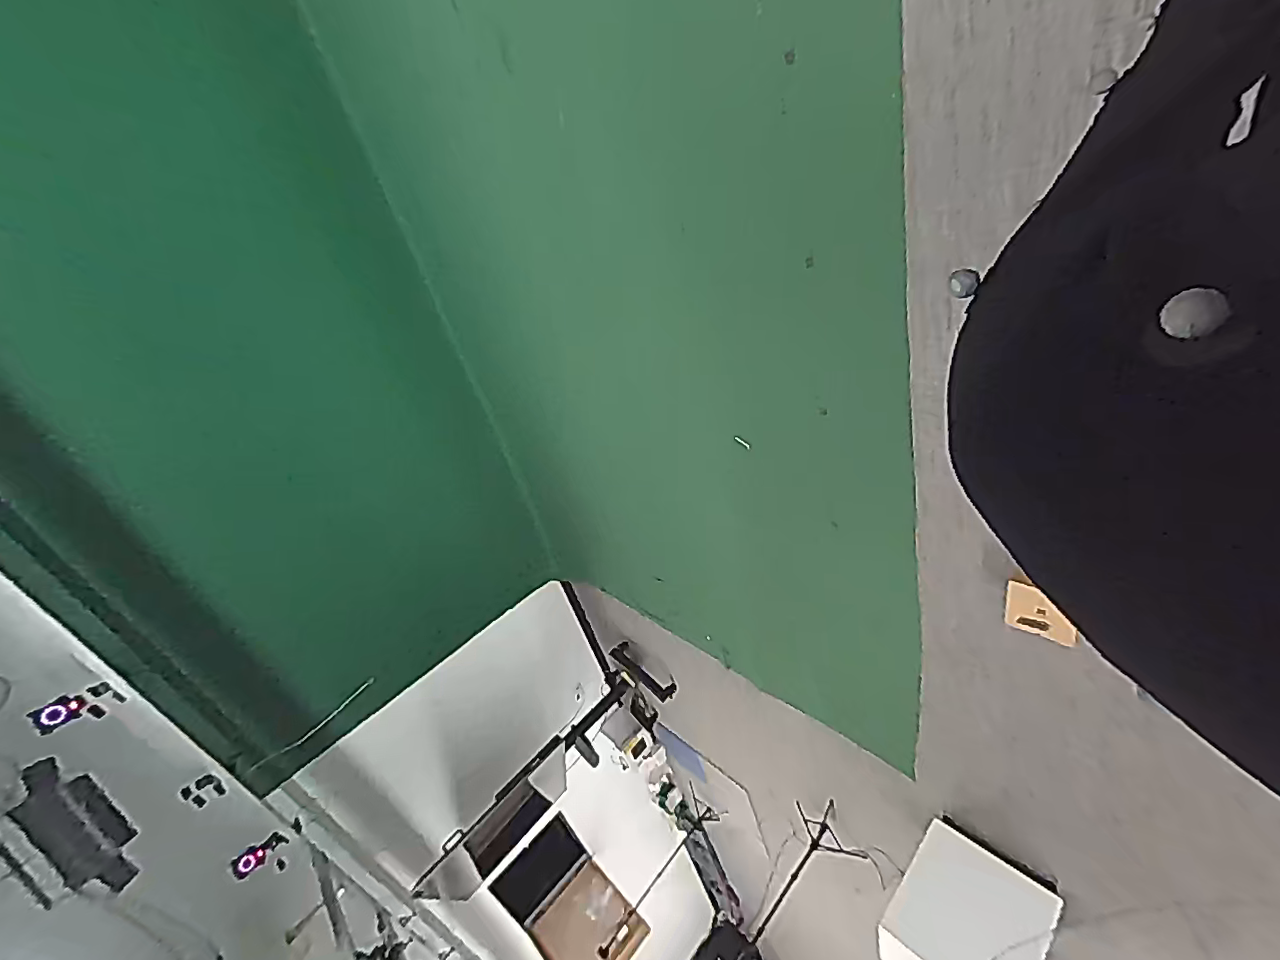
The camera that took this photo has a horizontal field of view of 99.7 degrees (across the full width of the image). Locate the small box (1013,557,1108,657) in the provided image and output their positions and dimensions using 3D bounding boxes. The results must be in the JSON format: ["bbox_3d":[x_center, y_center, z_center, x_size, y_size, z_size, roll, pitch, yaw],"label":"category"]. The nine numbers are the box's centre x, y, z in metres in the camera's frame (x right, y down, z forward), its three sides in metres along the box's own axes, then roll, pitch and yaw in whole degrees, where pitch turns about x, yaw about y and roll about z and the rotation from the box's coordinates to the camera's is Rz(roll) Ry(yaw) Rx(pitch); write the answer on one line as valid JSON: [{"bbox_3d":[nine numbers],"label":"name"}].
[{"bbox_3d":[1.163,0.345,1.498,0.168,0.176,0.179,18,133,47],"label":"small box"}]
